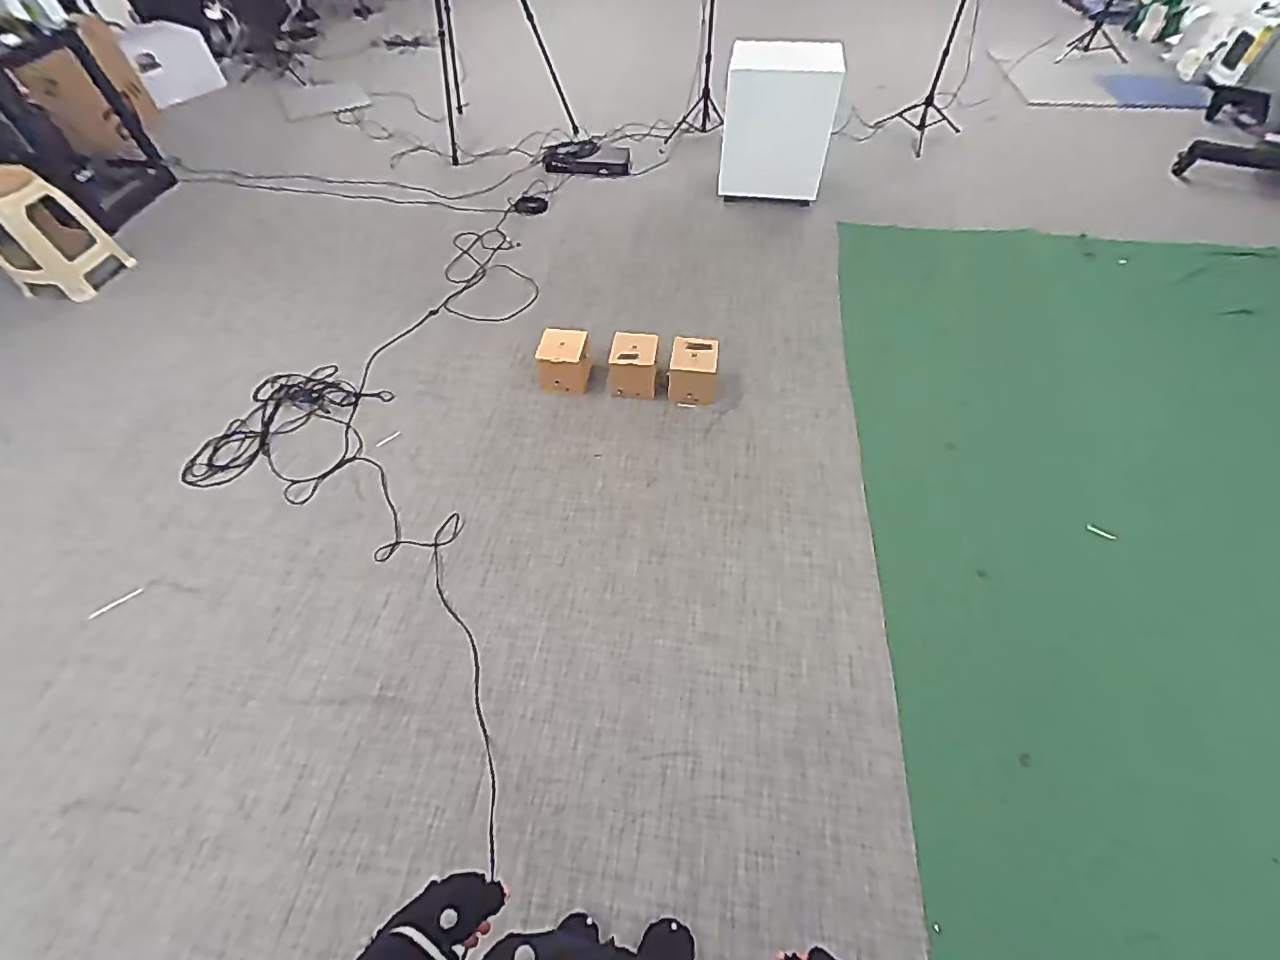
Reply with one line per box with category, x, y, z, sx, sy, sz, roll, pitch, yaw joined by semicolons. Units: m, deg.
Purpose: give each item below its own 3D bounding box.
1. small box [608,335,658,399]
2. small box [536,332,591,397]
small box;-0.021;-0.423;2.043;0.168;0.176;0.179;5;52;6
small box;-0.285;-0.442;2.069;0.168;0.176;0.179;5;54;6
